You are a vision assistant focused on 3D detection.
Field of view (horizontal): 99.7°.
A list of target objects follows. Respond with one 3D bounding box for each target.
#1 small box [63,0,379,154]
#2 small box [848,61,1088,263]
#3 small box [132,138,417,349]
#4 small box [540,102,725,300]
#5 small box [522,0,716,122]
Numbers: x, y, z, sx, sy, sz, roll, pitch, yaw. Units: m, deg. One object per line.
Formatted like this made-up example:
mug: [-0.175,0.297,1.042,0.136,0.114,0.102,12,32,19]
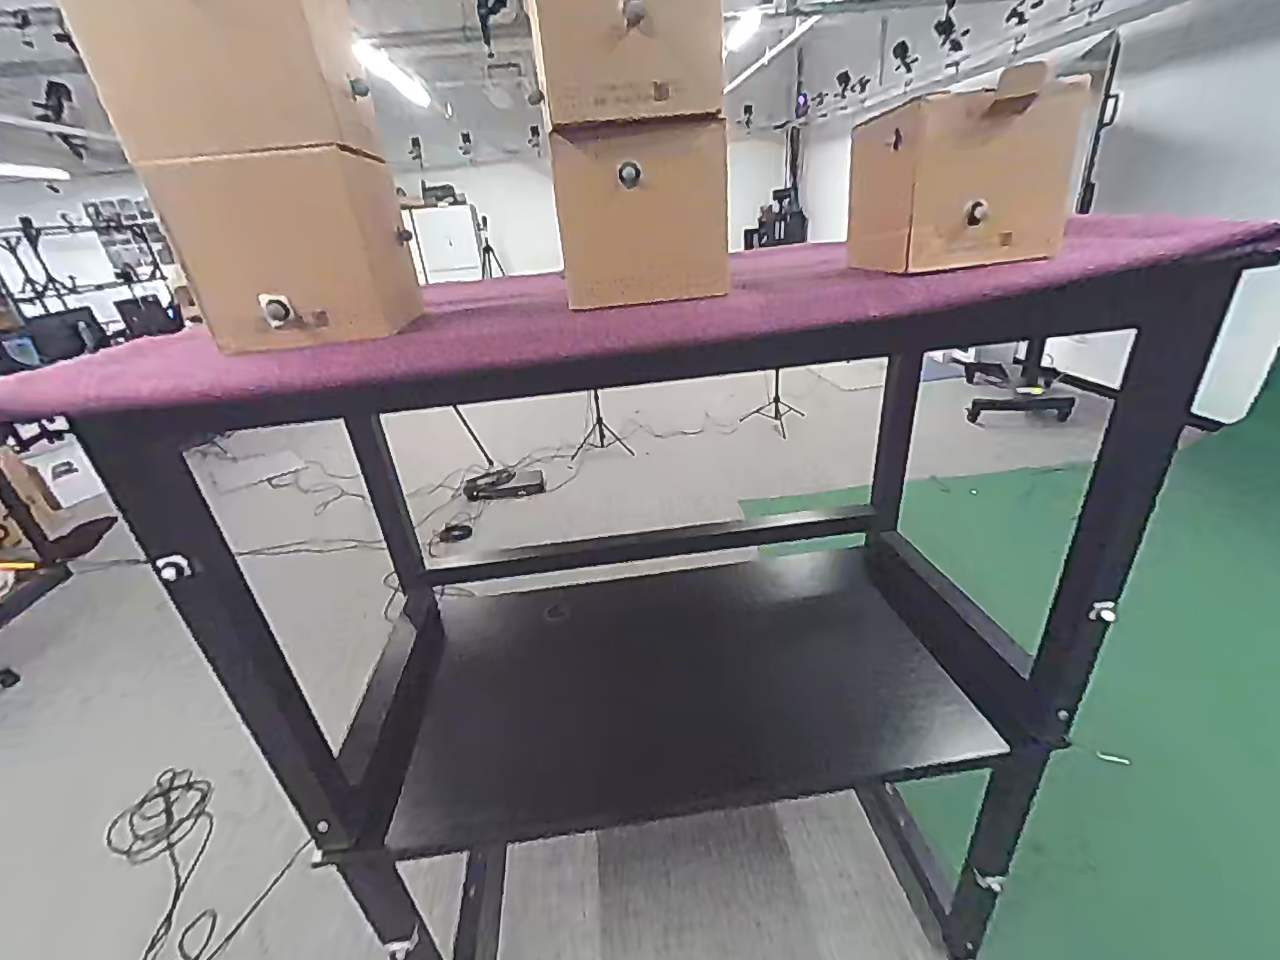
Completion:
small box: [-0.370,-0.389,0.492,0.179,0.176,0.168,-10,27,-6]
small box: [0.351,-0.348,0.623,0.168,0.176,0.179,-7,24,0]
small box: [-0.348,-0.243,0.564,0.168,0.176,0.179,-10,28,-6]
small box: [-0.006,-0.304,0.613,0.179,0.176,0.168,-6,25,-2]
small box: [-0.026,-0.446,0.533,0.168,0.176,0.179,-9,26,-7]
